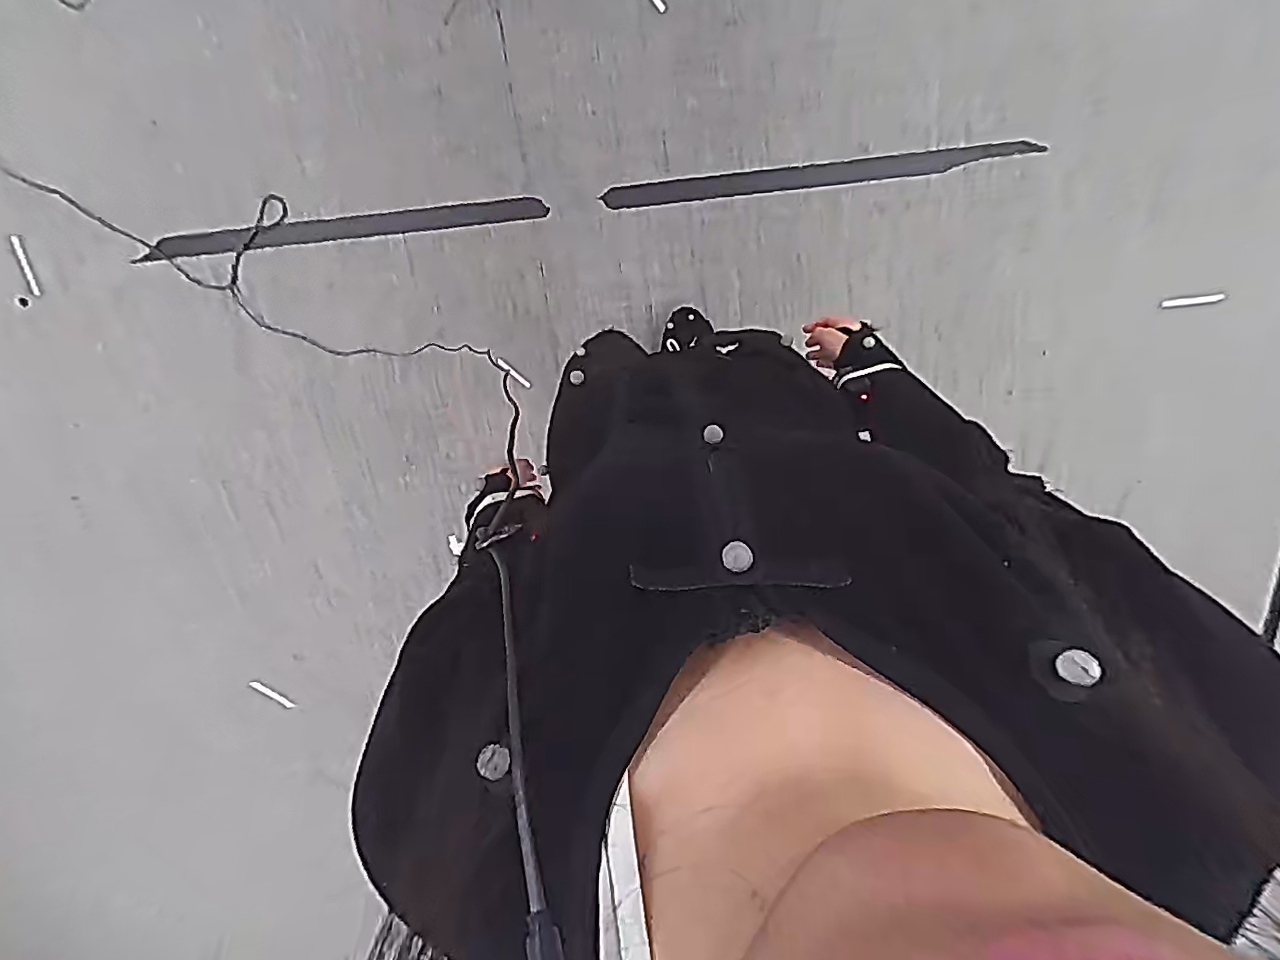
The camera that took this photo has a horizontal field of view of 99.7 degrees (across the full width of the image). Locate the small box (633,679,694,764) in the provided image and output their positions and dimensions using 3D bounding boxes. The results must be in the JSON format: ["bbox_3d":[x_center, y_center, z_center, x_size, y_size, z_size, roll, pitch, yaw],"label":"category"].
[{"bbox_3d":[0.070,0.726,1.647,0.168,0.176,0.179,-7,108,3],"label":"small box"}]
